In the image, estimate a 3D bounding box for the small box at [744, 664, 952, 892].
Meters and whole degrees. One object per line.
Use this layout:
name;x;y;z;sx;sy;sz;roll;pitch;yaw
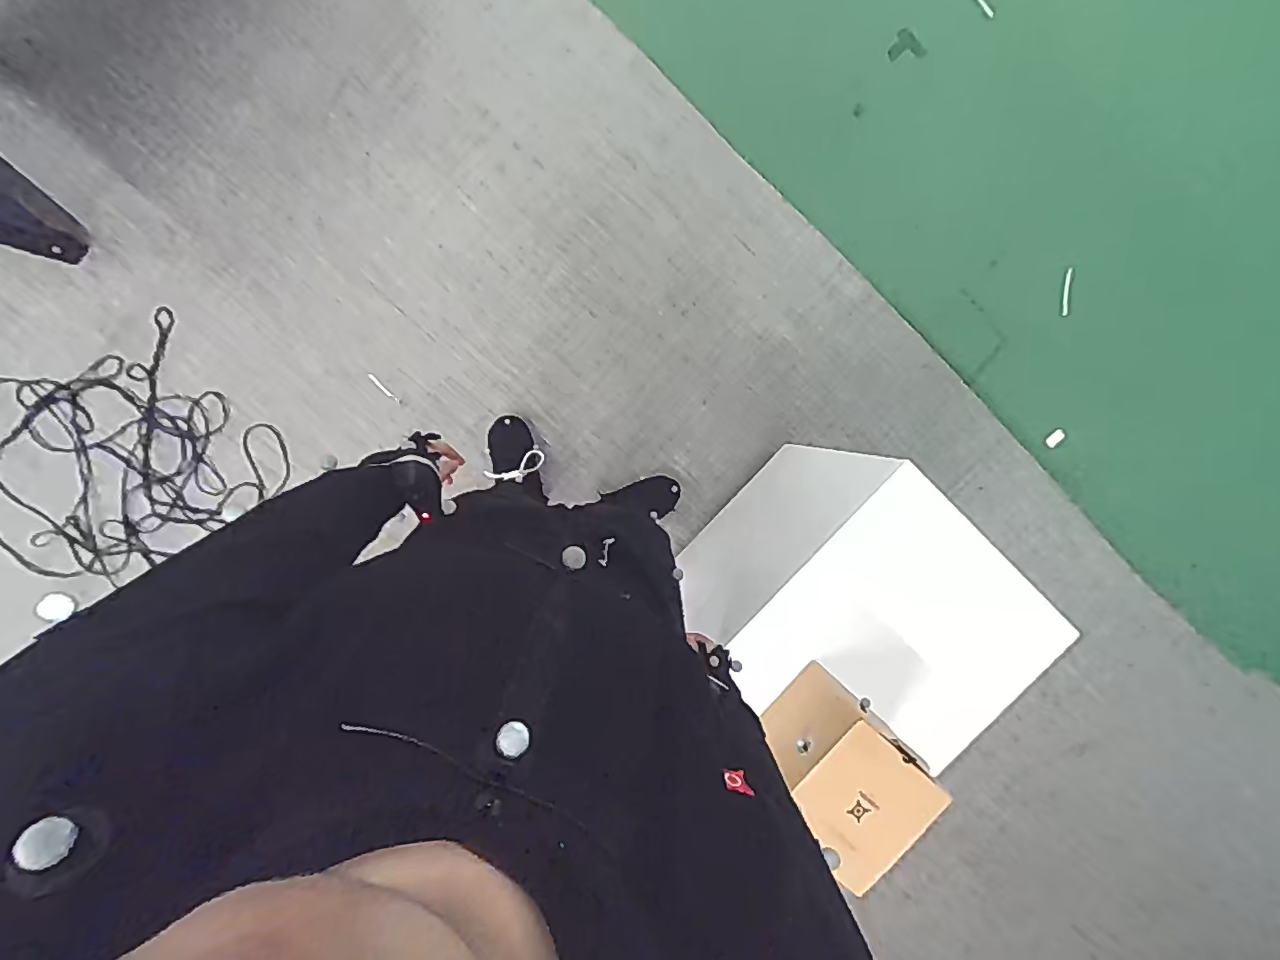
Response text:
small box;0.268;0.391;0.743;0.168;0.176;0.179;42;93;-5
